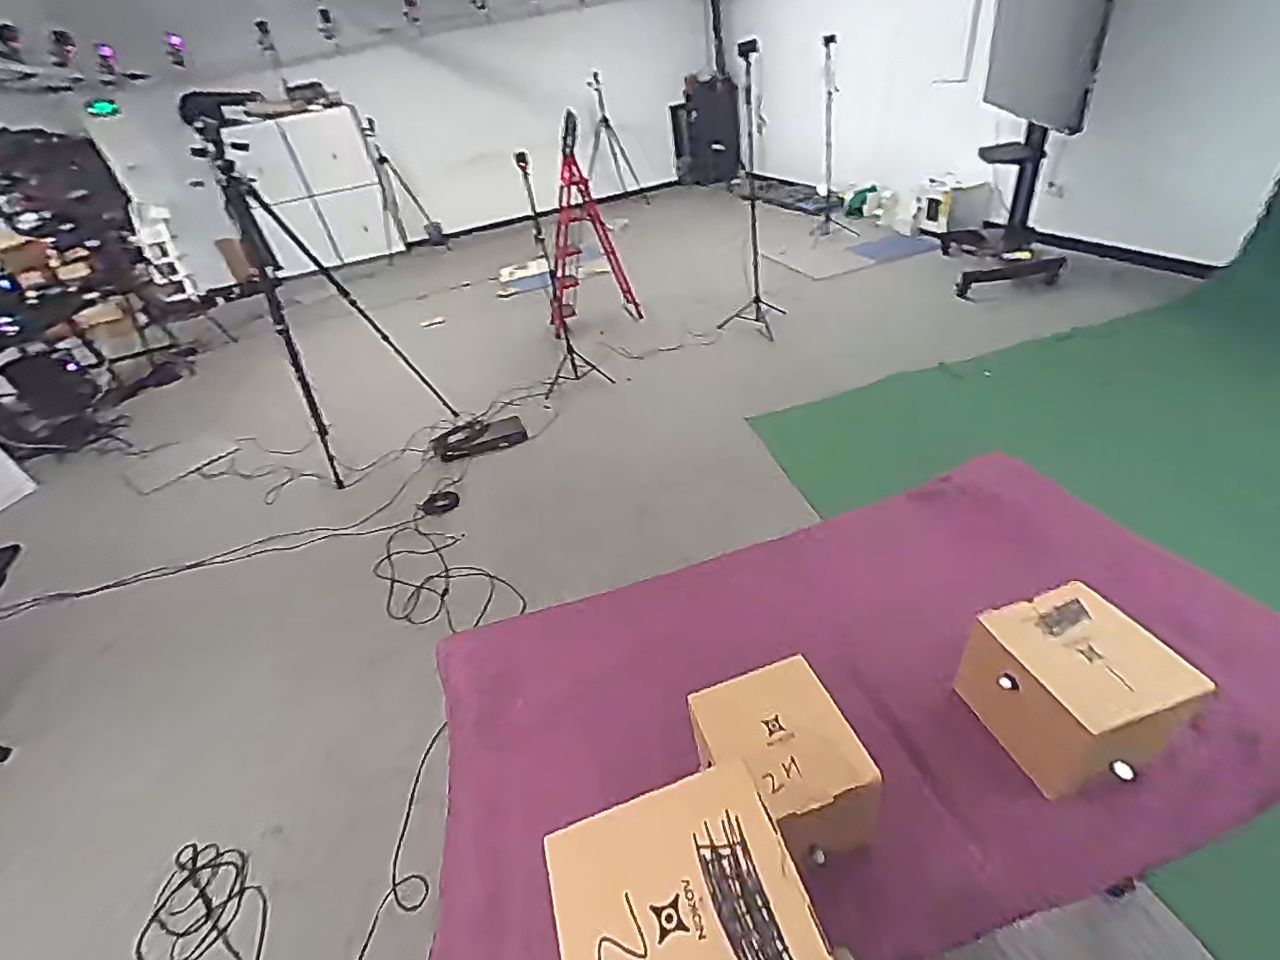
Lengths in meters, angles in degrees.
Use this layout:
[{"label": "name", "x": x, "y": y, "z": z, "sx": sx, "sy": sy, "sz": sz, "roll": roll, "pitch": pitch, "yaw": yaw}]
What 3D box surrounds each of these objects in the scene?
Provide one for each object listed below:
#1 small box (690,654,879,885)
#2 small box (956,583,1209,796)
[{"label": "small box", "x": 0.175, "y": 0.364, "z": 0.690, "sx": 0.168, "sy": 0.176, "sz": 0.179, "roll": -18, "pitch": 35, "yaw": -8}, {"label": "small box", "x": 0.557, "y": 0.273, "z": 0.715, "sx": 0.168, "sy": 0.176, "sz": 0.179, "roll": -16, "pitch": 37, "yaw": -7}]
